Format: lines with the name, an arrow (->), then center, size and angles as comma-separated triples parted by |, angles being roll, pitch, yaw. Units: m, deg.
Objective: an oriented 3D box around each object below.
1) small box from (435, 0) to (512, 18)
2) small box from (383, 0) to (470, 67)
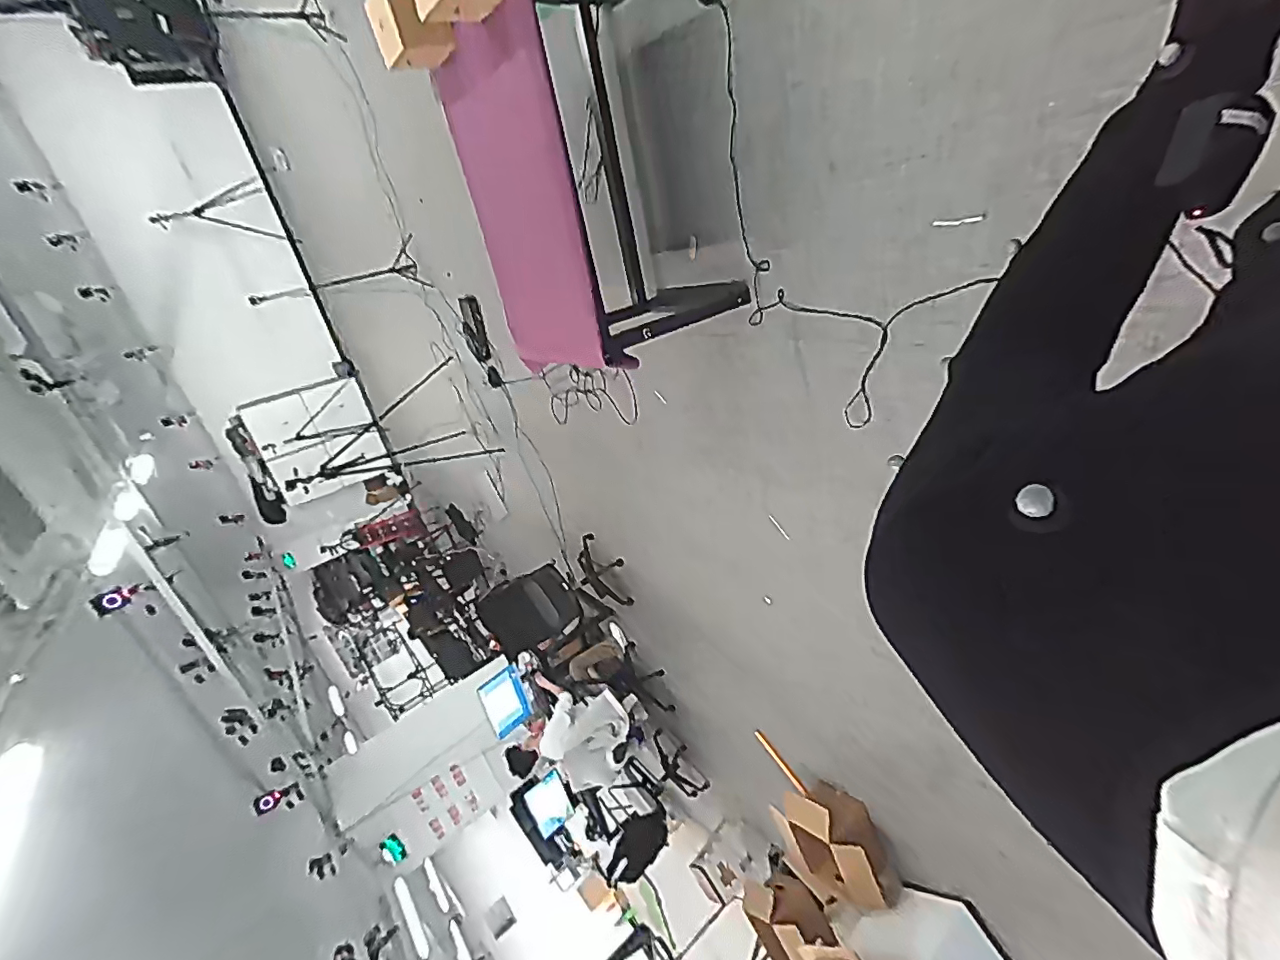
small box -> -0.423, -1.283, 1.344 | 0.179, 0.176, 0.168 | 23, 134, 49
small box -> -0.635, -1.369, 1.616 | 0.179, 0.176, 0.168 | 20, 133, 50
